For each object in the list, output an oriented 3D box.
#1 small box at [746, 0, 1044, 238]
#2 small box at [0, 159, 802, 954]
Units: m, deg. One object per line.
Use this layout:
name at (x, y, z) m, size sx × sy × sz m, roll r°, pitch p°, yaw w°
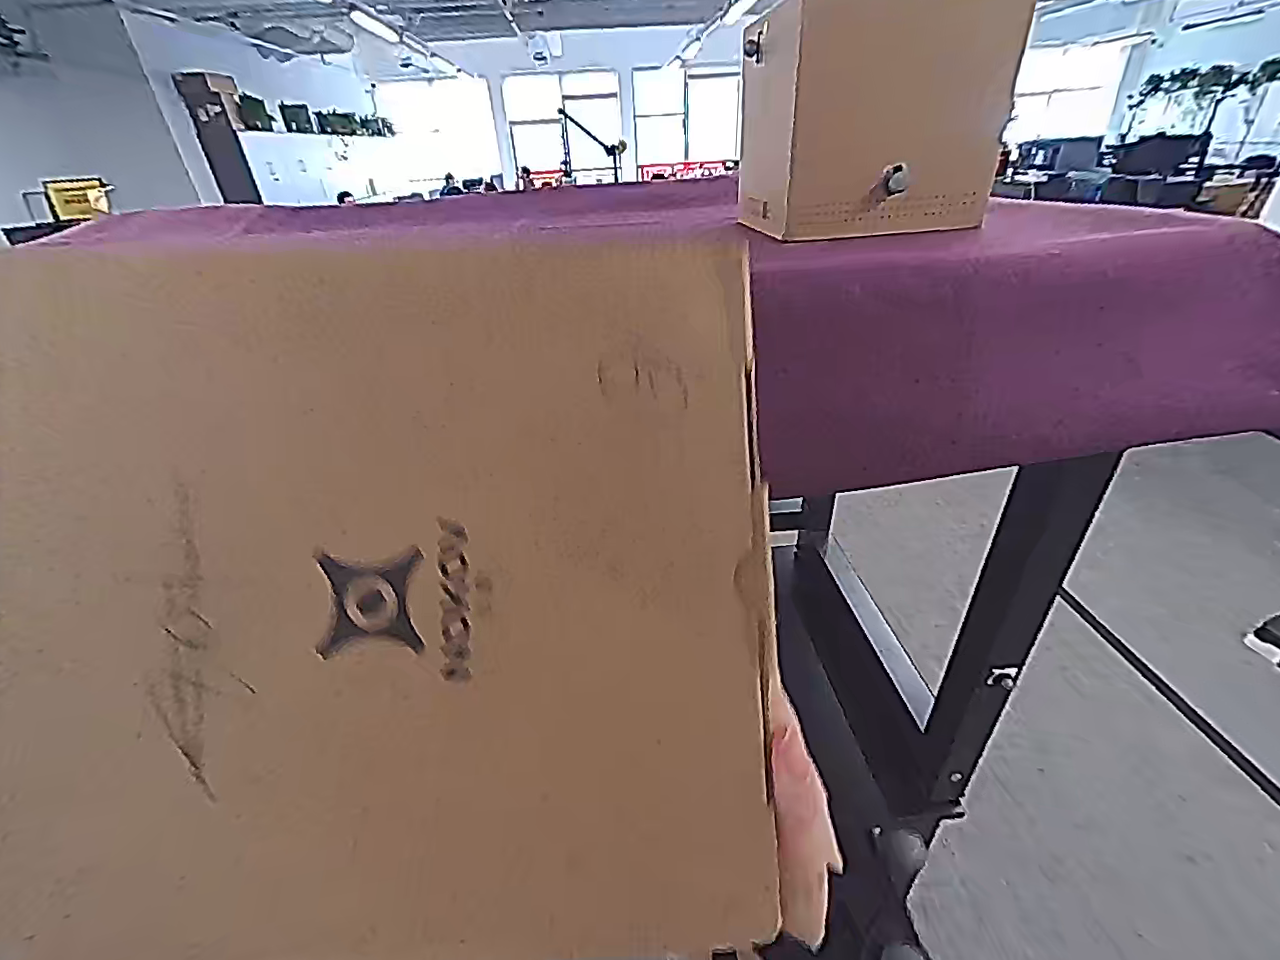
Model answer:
small box at (0.198, -0.321, 0.482) m, size 0.179 × 0.176 × 0.168 m, roll -5°, pitch 31°, yaw -3°
small box at (-0.056, 0.015, 0.197) m, size 0.179 × 0.168 × 0.176 m, roll -2°, pitch -2°, yaw -3°
